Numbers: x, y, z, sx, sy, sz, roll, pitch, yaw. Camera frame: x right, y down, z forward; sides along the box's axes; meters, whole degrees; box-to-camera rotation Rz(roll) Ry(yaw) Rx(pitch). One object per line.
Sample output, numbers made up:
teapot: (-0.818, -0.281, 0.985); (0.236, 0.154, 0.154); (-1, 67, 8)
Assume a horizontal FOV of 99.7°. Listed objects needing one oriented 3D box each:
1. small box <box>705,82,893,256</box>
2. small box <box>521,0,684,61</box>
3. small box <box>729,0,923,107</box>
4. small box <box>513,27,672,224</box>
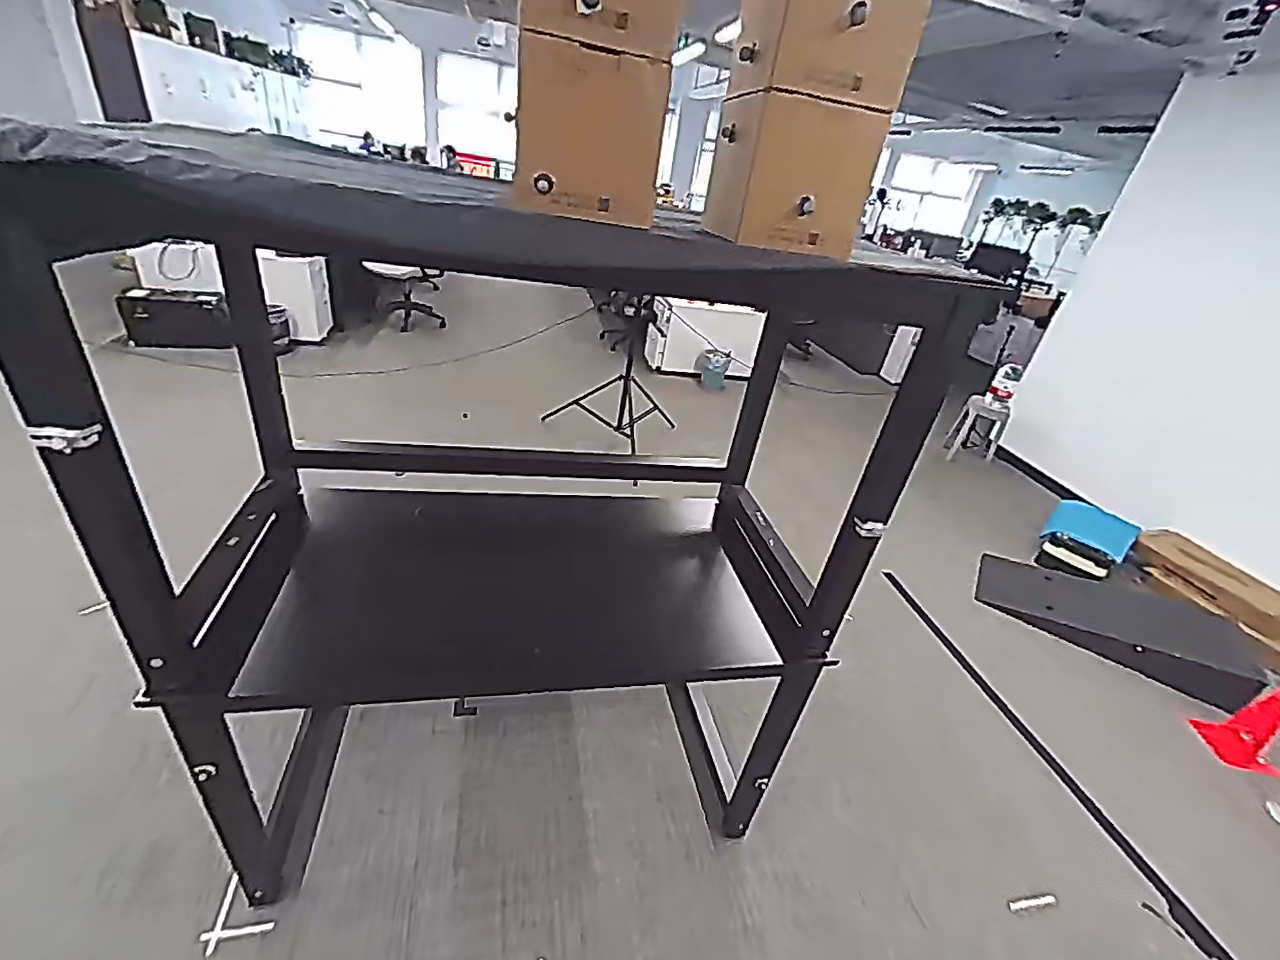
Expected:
small box: (0.198, -0.414, 0.736); (0.168, 0.176, 0.179); (1, 30, -12)
small box: (-0.044, -0.562, 0.593); (0.168, 0.176, 0.179); (1, 30, -13)
small box: (0.223, -0.555, 0.657); (0.168, 0.176, 0.179); (3, 30, -12)
small box: (-0.069, -0.421, 0.668); (0.168, 0.176, 0.179); (2, 28, -14)
